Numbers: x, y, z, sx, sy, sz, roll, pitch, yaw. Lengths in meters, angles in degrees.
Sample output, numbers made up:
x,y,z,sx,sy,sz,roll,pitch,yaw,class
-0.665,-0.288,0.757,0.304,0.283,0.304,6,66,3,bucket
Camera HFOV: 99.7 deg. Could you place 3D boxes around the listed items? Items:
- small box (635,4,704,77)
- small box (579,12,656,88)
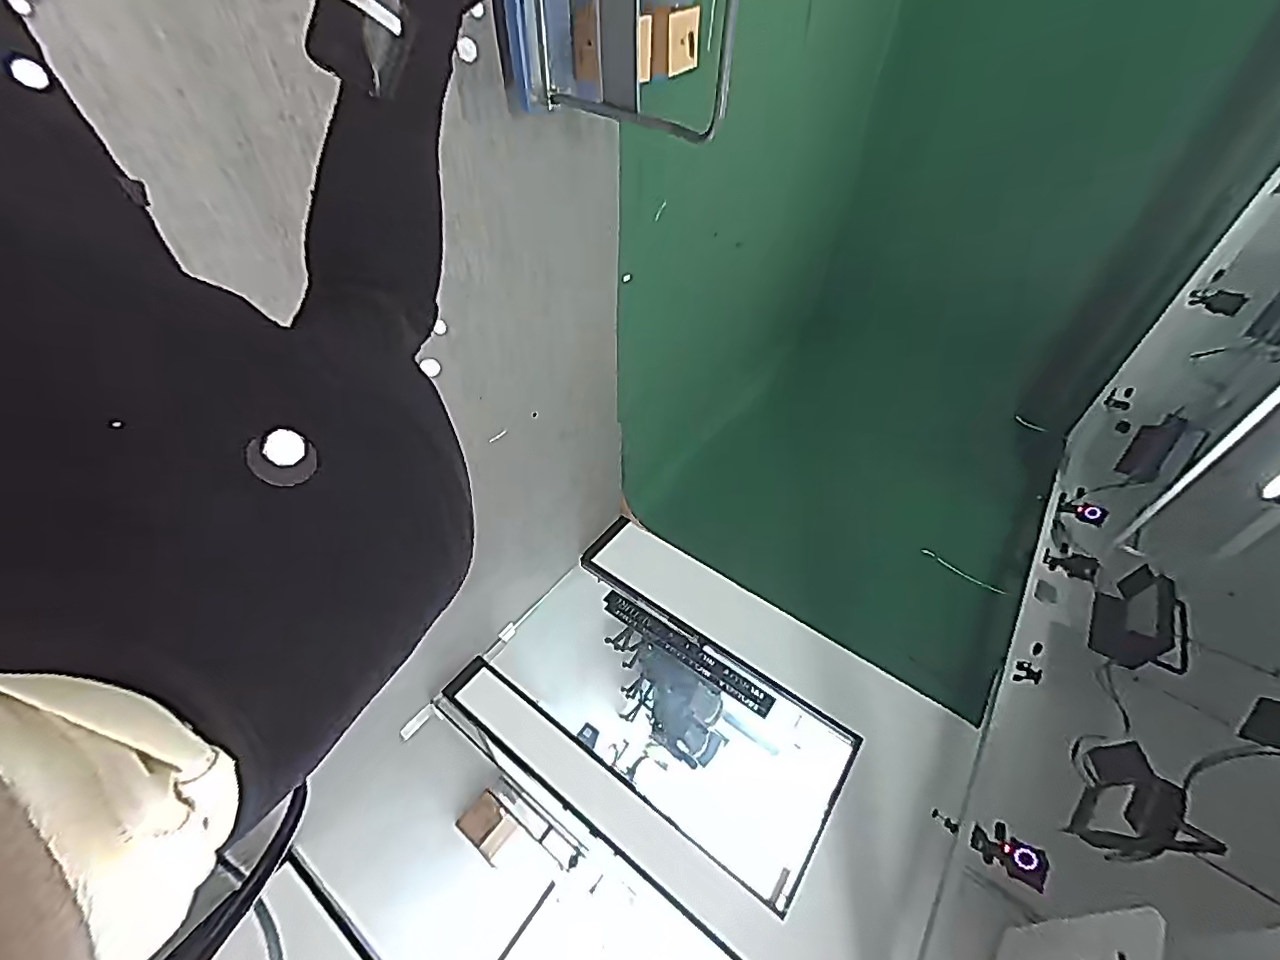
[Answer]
x,y,z,sx,sy,sz,roll,pitch,yaw,class
0.095,-1.495,1.835,0.179,0.176,0.168,-44,150,-30,small box
-0.071,-1.343,1.685,0.179,0.176,0.168,-41,149,-34,small box
